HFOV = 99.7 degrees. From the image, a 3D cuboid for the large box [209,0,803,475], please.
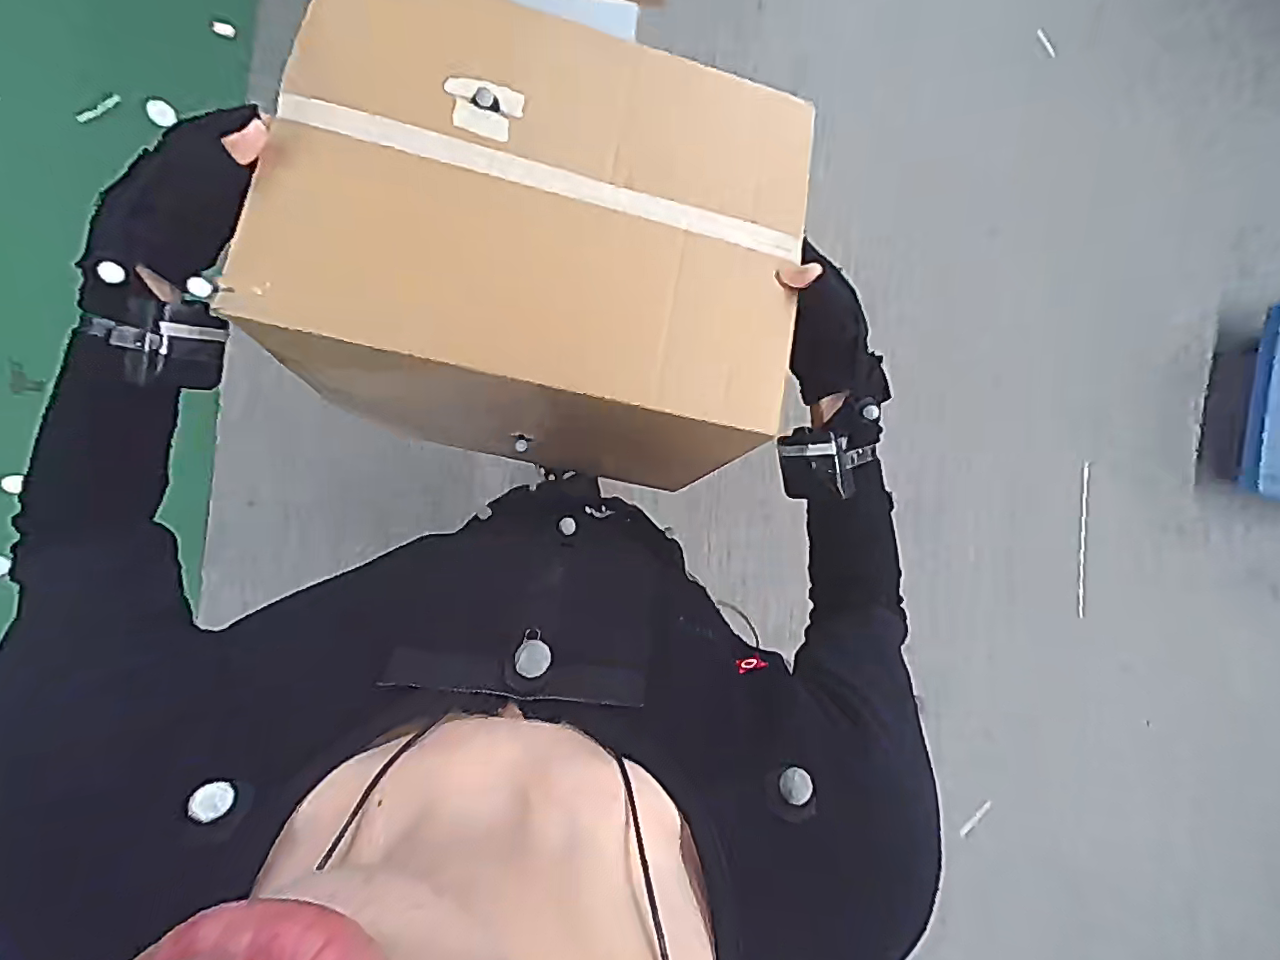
[{"bbox_3d":[-0.098,-0.205,0.559,0.408,0.320,0.320,11,79,-9],"label":"large box"}]
